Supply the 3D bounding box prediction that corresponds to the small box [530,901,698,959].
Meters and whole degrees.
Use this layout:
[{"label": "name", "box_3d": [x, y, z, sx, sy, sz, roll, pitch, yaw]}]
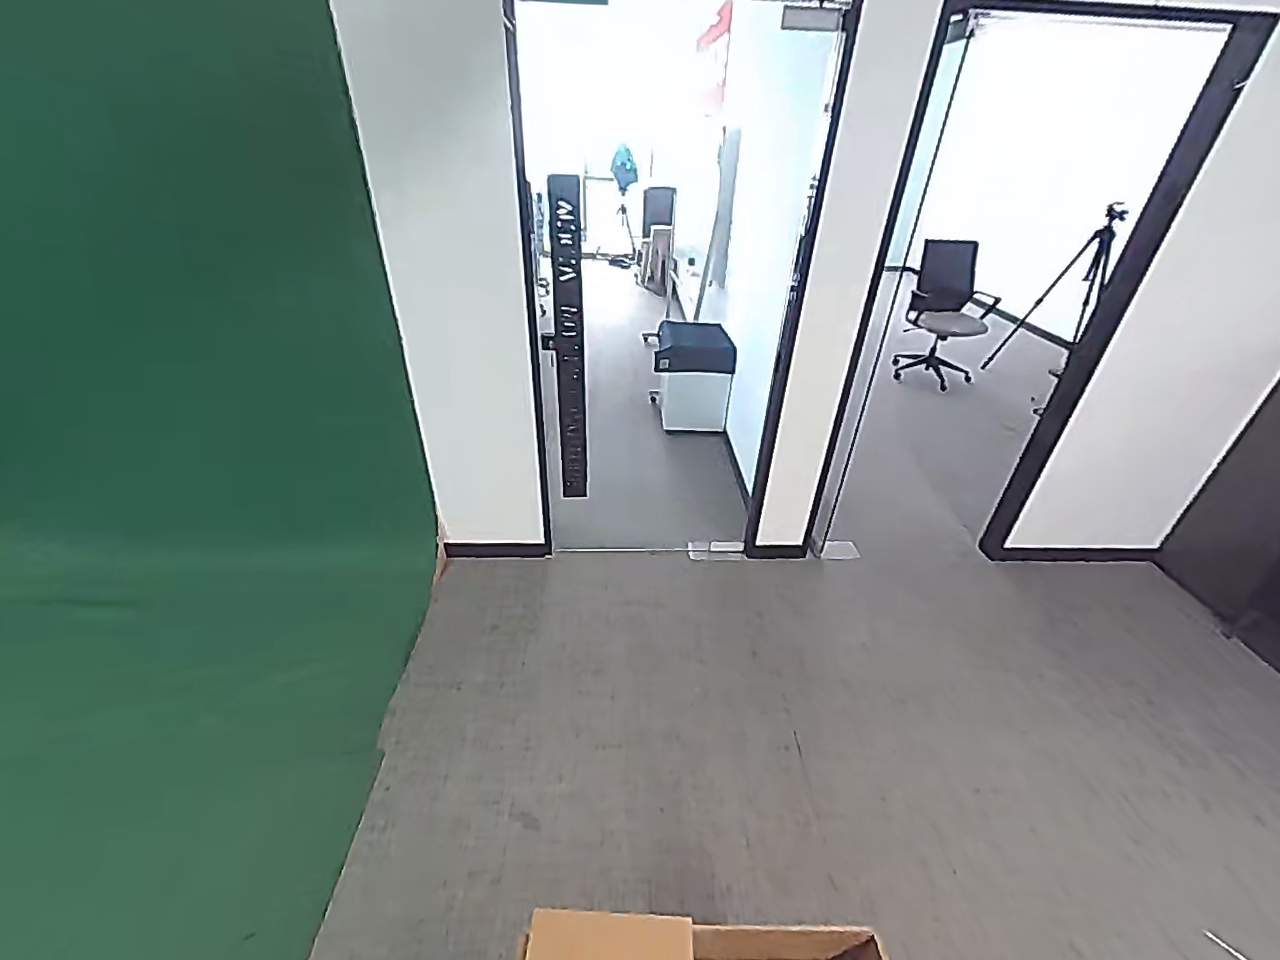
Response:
[{"label": "small box", "box_3d": [-0.032, 0.554, 0.531, 0.168, 0.176, 0.179, 4, 36, 1]}]
